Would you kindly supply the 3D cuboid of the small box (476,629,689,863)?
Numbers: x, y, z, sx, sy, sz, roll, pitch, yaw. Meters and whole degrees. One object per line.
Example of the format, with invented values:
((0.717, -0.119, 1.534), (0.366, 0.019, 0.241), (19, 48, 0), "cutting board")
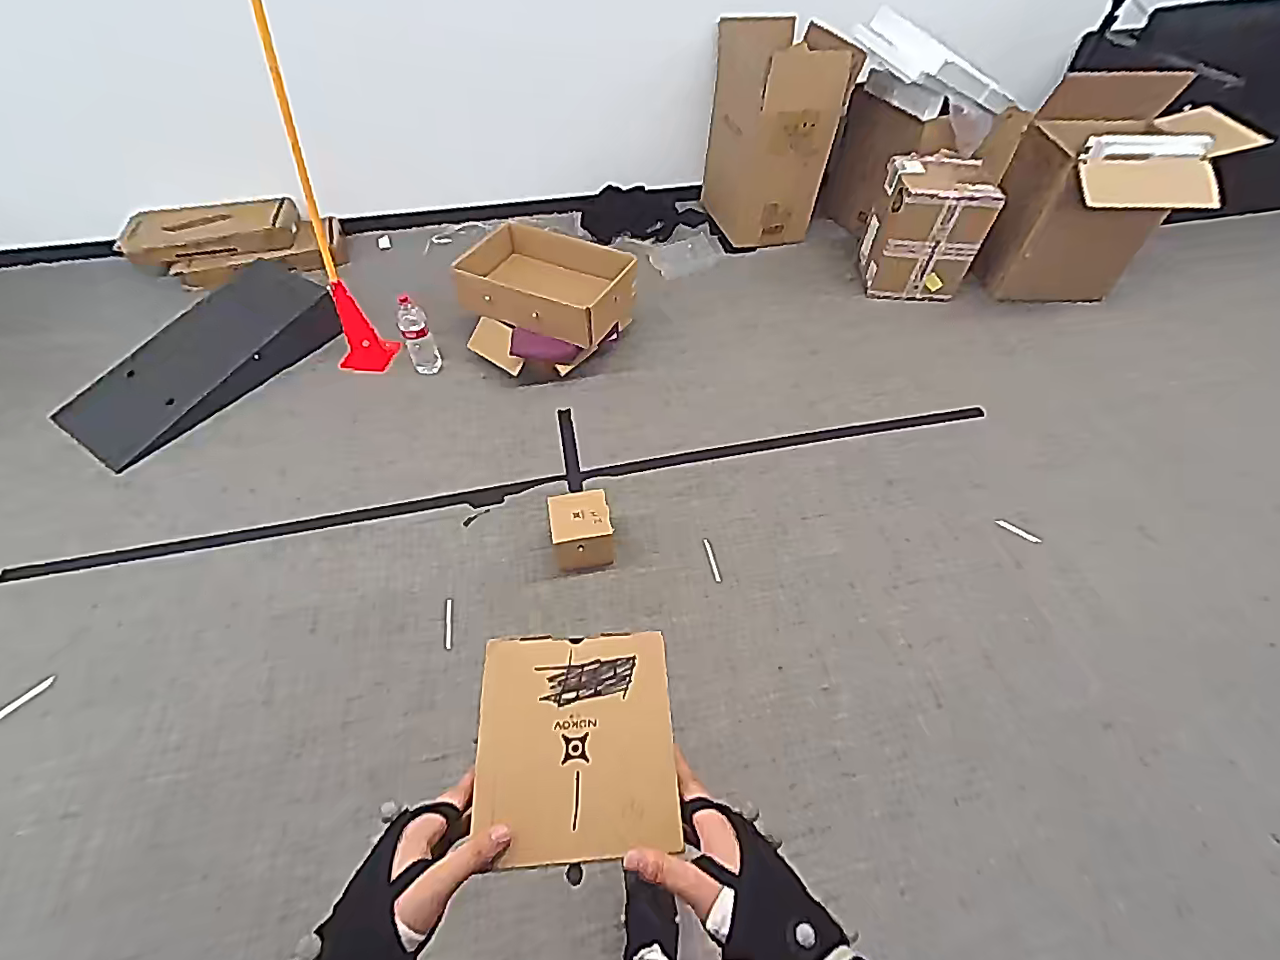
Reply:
((-0.054, 0.259, 0.523), (0.168, 0.176, 0.179), (-1, 56, -6), "small box")

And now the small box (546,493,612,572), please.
((-0.184, 0.164, 1.651), (0.179, 0.176, 0.168), (-8, 53, -8), "small box")
